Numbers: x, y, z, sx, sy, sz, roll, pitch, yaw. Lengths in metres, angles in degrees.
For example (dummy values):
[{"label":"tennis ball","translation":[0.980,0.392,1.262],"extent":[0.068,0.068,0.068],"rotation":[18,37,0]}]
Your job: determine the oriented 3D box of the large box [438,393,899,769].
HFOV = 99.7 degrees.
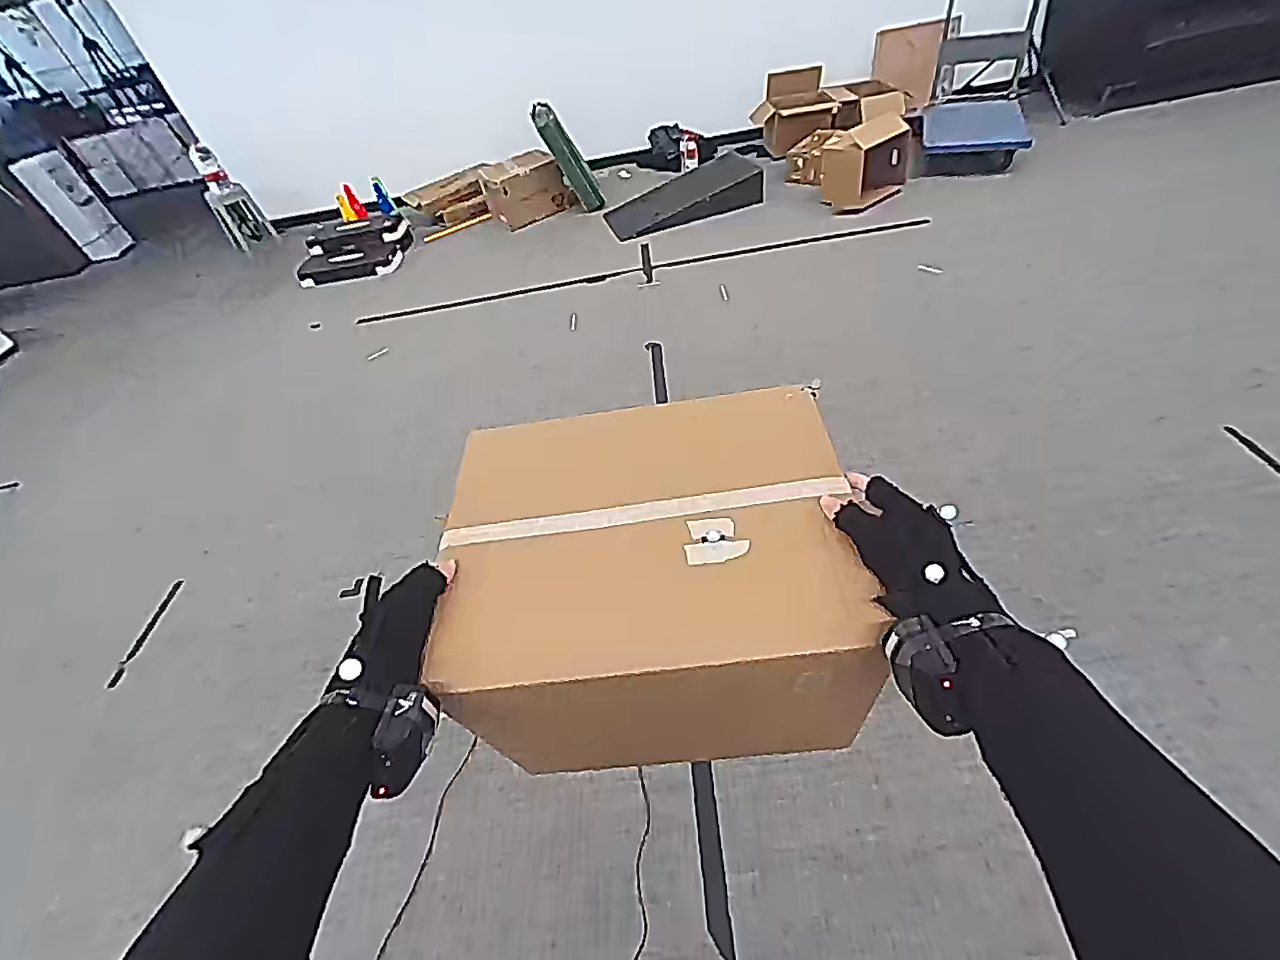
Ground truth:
[{"label":"large box","translation":[0.029,0.133,0.662],"extent":[0.408,0.320,0.320],"rotation":[-7,50,4]}]
